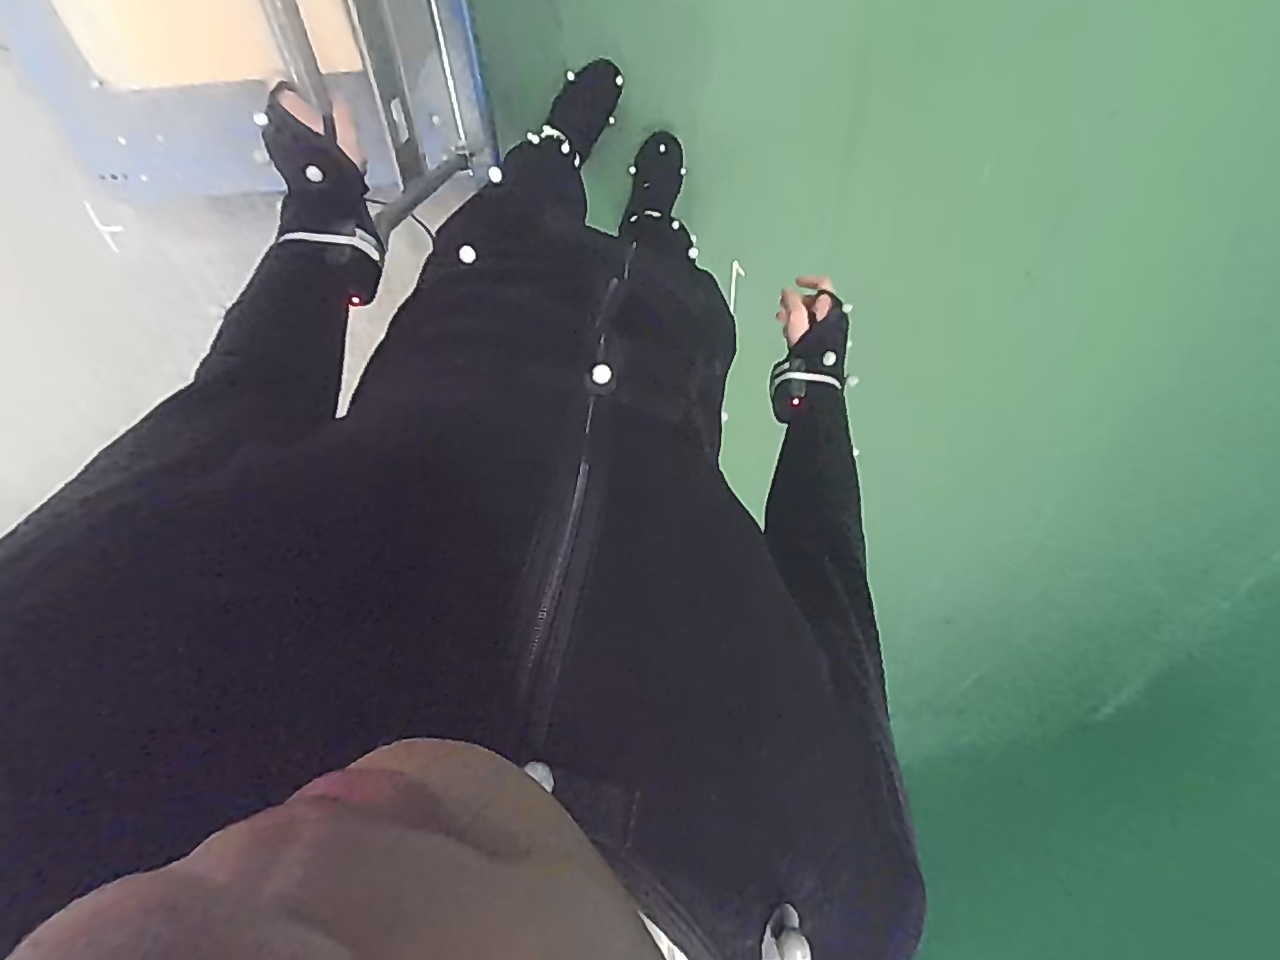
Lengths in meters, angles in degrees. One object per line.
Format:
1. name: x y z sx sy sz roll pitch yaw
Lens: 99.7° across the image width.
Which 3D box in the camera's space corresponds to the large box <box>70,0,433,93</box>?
1. large box: -0.597 -0.814 0.827 0.408 0.320 0.320 -2 130 2
